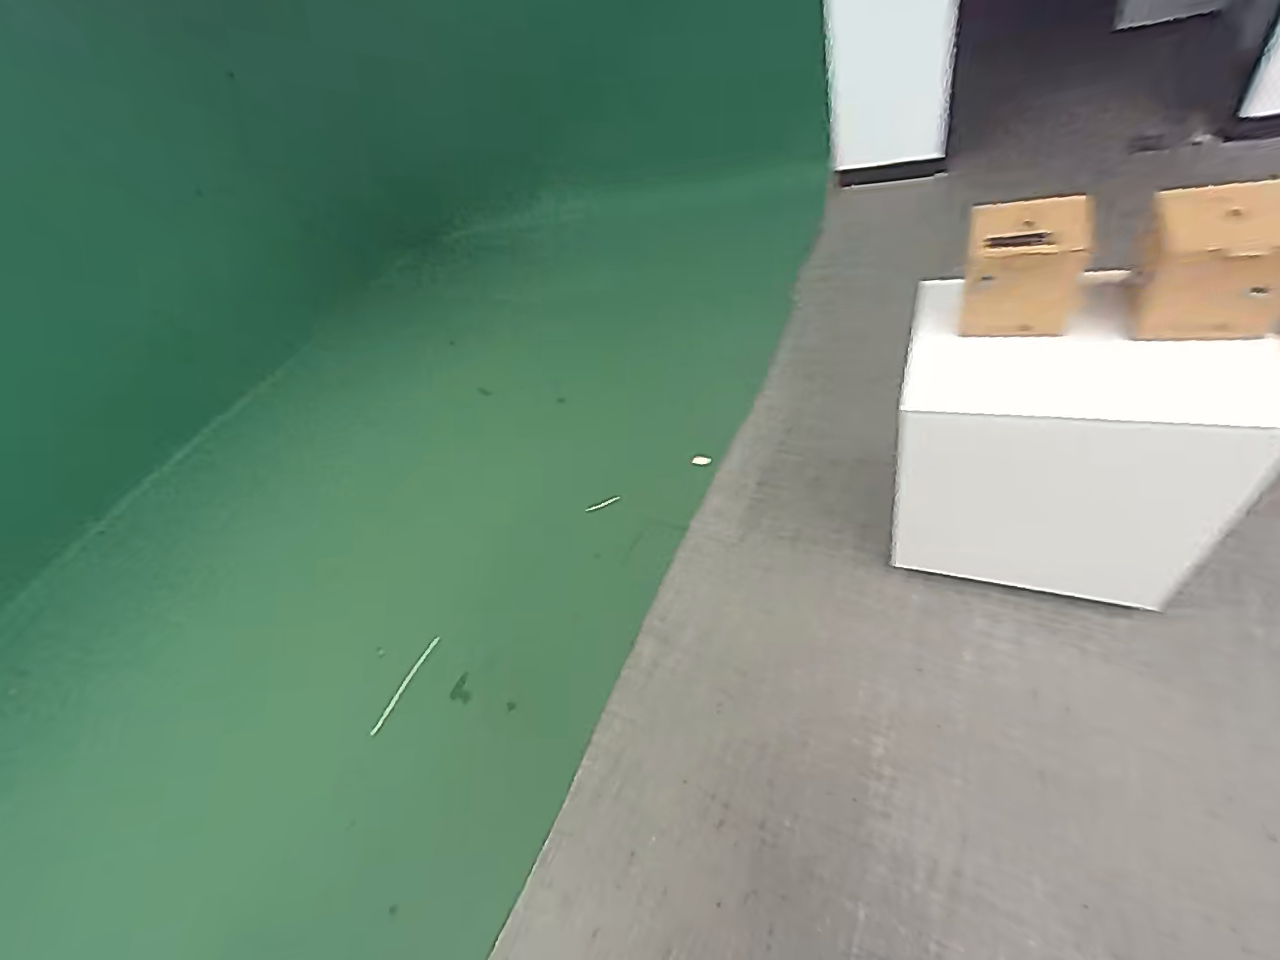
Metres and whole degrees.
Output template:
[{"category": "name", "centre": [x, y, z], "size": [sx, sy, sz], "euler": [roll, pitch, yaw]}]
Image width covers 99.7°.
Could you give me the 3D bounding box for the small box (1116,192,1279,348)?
[{"category": "small box", "centre": [0.900, -0.327, 0.868], "size": [0.168, 0.176, 0.179], "euler": [7, 53, 27]}]
